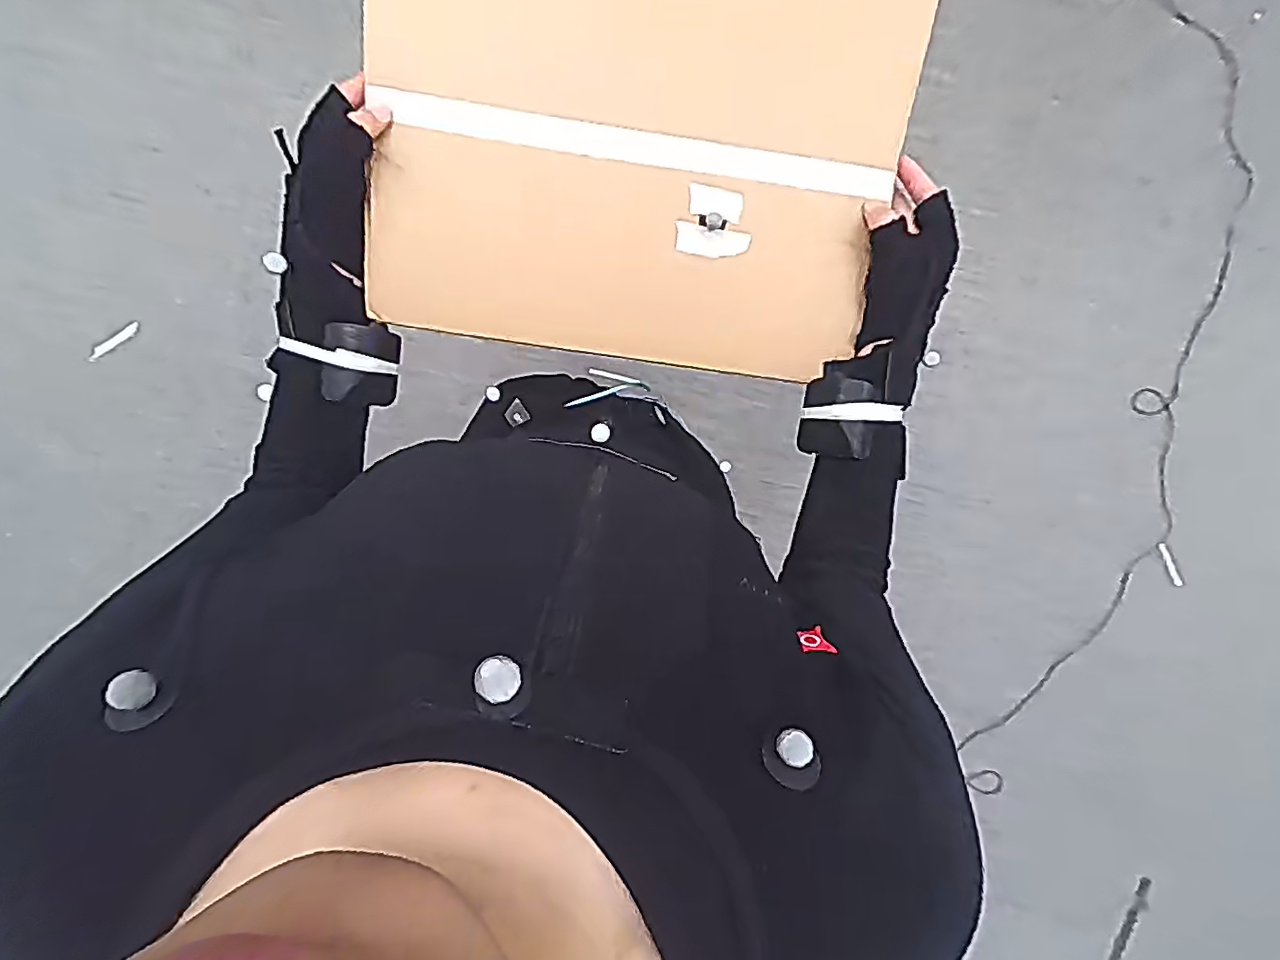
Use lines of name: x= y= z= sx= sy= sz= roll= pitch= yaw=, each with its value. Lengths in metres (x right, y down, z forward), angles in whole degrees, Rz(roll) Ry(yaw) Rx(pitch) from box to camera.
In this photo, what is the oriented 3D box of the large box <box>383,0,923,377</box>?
large box: x=-0.007 y=-0.298 z=0.570 sx=0.408 sy=0.320 sz=0.320 roll=7 pitch=106 yaw=-4
